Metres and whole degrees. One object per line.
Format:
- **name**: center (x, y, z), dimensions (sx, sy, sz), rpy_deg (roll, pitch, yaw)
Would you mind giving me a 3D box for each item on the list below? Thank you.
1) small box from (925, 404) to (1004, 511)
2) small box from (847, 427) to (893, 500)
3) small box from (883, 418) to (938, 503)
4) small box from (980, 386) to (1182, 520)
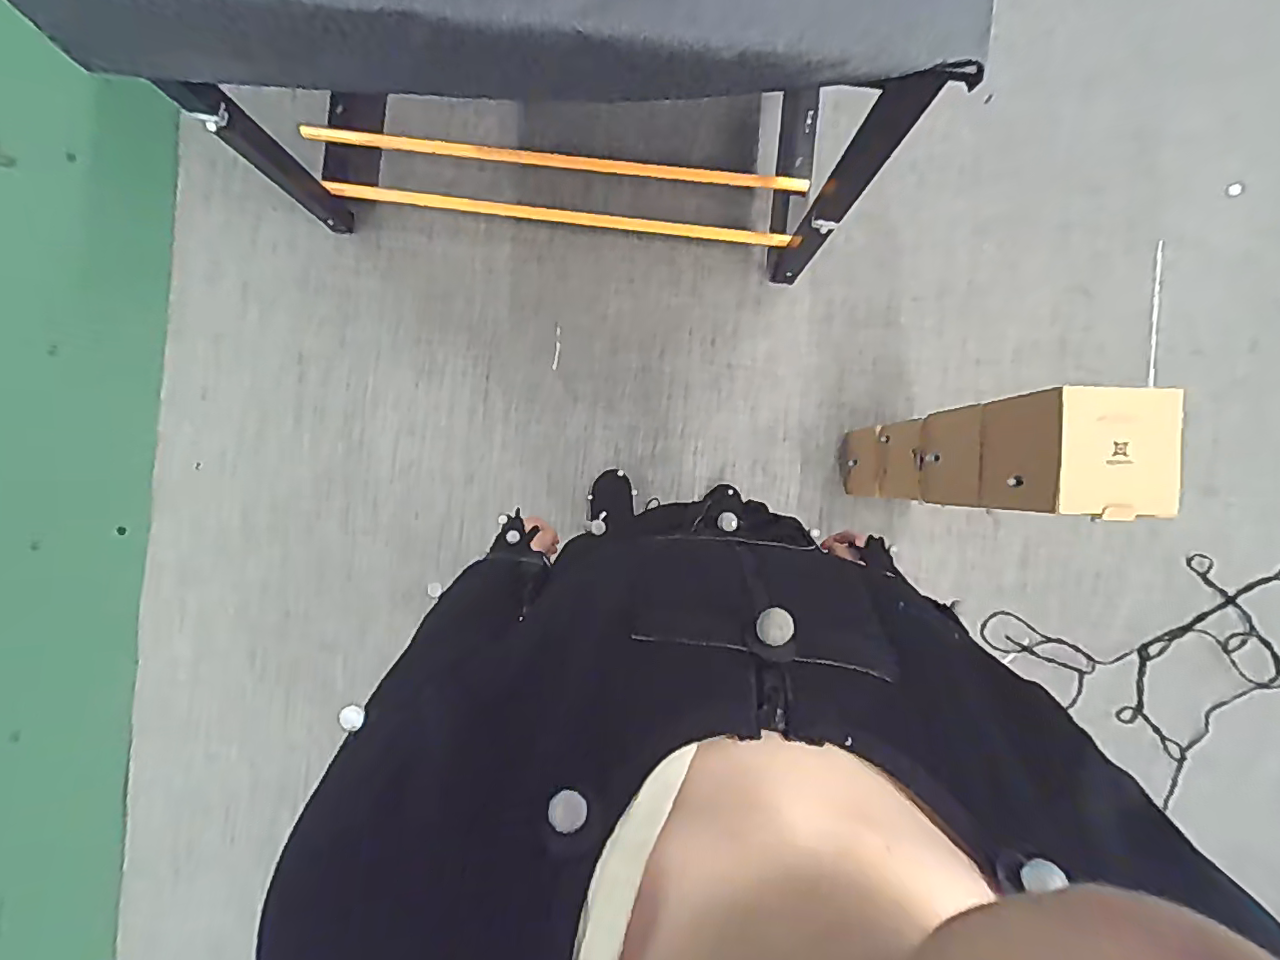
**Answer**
- **small box**: center (0.630, -0.037, 0.961), dimensions (0.168, 0.176, 0.179), rpy_deg (1, 90, -1)
- **small box**: center (0.612, -0.036, 1.288), dimensions (0.179, 0.176, 0.168), rpy_deg (0, 89, 0)
- **small box**: center (0.625, -0.036, 1.124), dimensions (0.179, 0.176, 0.168), rpy_deg (1, 90, -1)
- **small box**: center (0.634, -0.036, 0.798), dimensions (0.168, 0.176, 0.179), rpy_deg (1, 89, -1)
